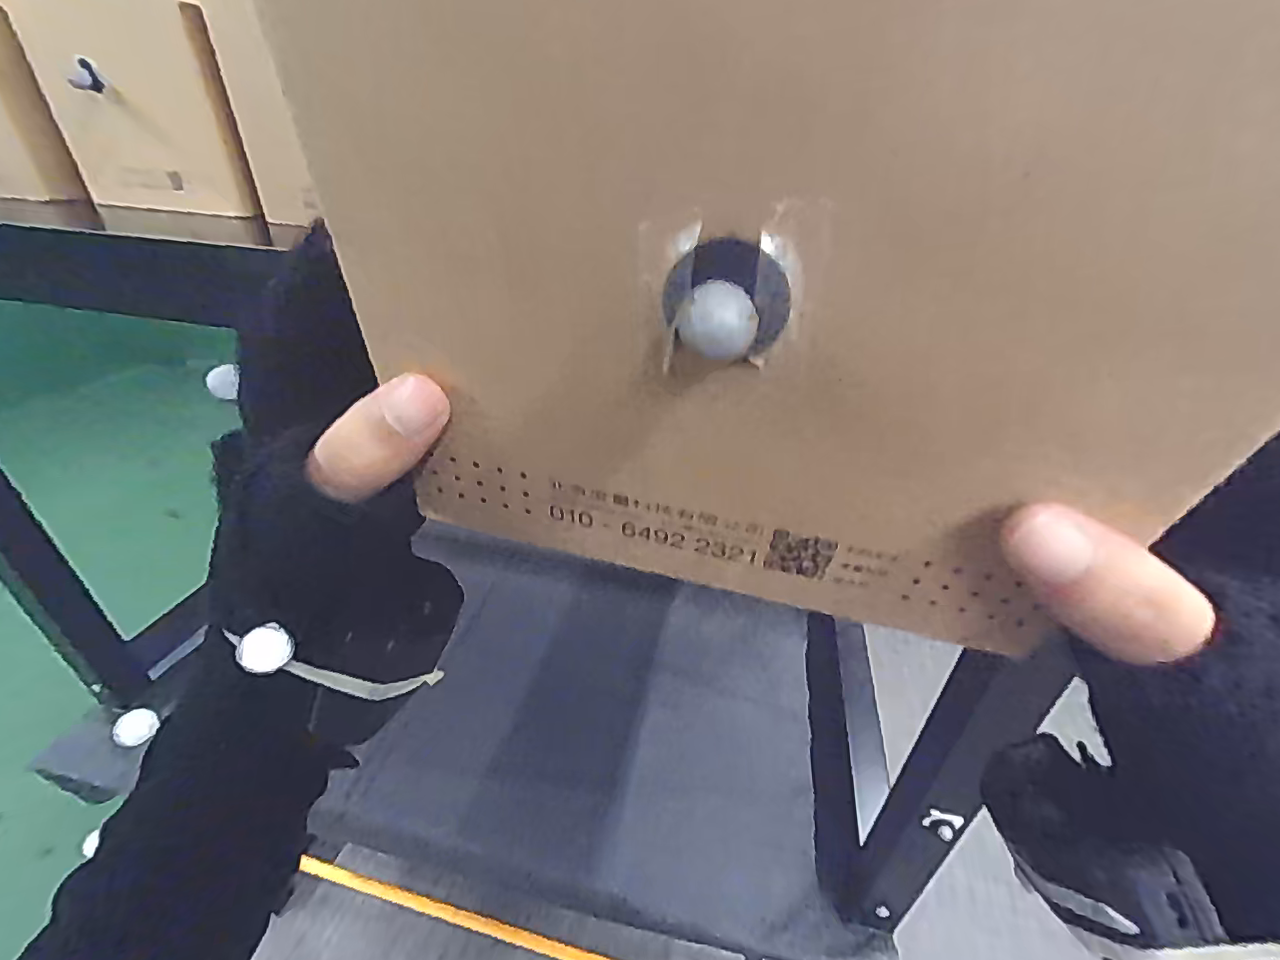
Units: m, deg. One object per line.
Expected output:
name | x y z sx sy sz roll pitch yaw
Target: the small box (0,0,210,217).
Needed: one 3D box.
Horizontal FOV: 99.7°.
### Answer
small box | -0.562 -0.358 0.514 0.168 0.176 0.179 10 34 12
